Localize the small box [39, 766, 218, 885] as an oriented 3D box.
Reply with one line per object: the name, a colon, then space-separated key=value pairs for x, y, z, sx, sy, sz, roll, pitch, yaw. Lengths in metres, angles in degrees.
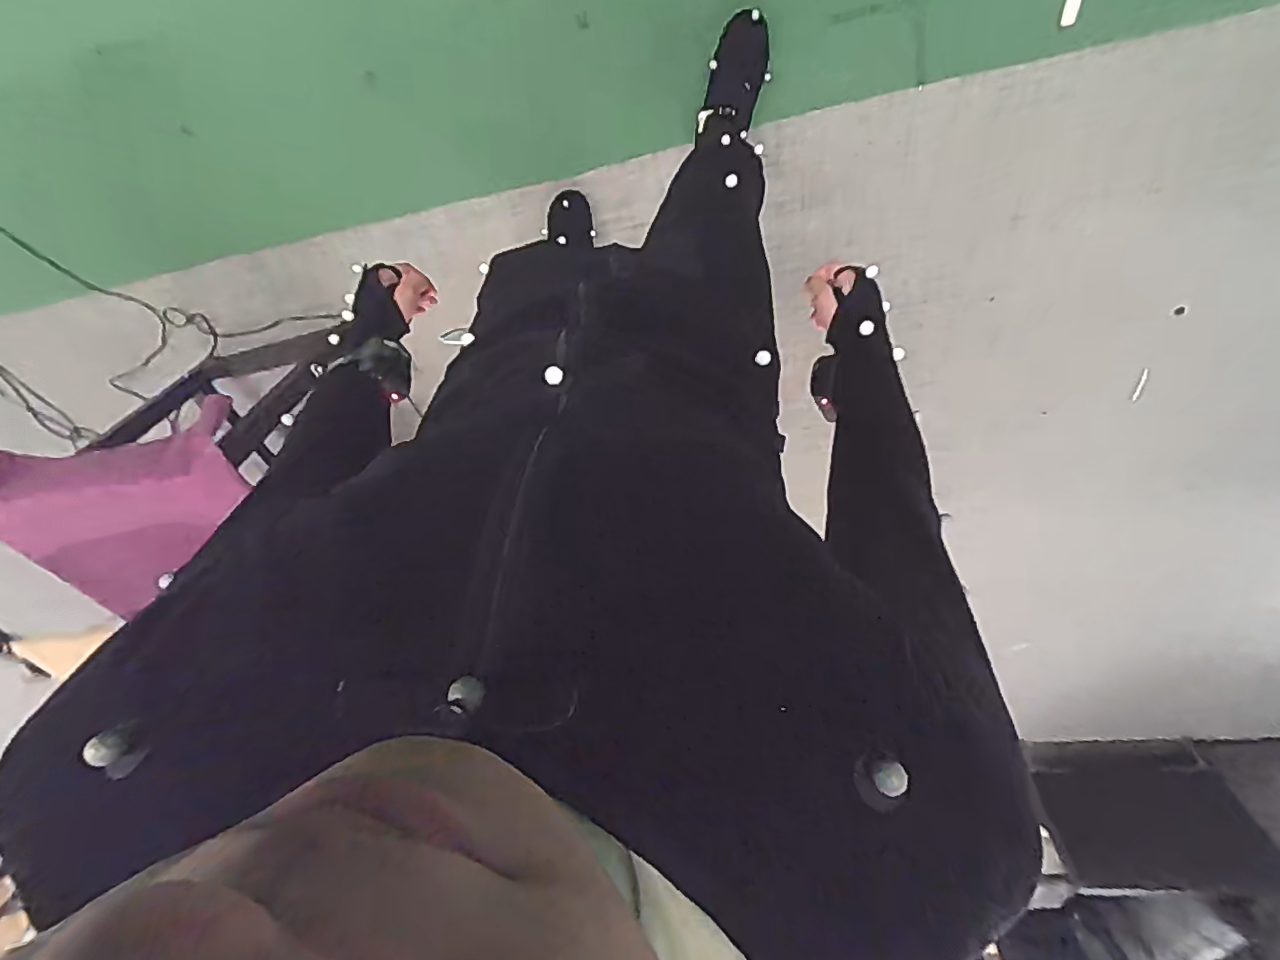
small box: x=-1.054 y=0.722 z=1.134 sx=0.179 sy=0.176 sz=0.168 roll=-11 pitch=127 yaw=12
